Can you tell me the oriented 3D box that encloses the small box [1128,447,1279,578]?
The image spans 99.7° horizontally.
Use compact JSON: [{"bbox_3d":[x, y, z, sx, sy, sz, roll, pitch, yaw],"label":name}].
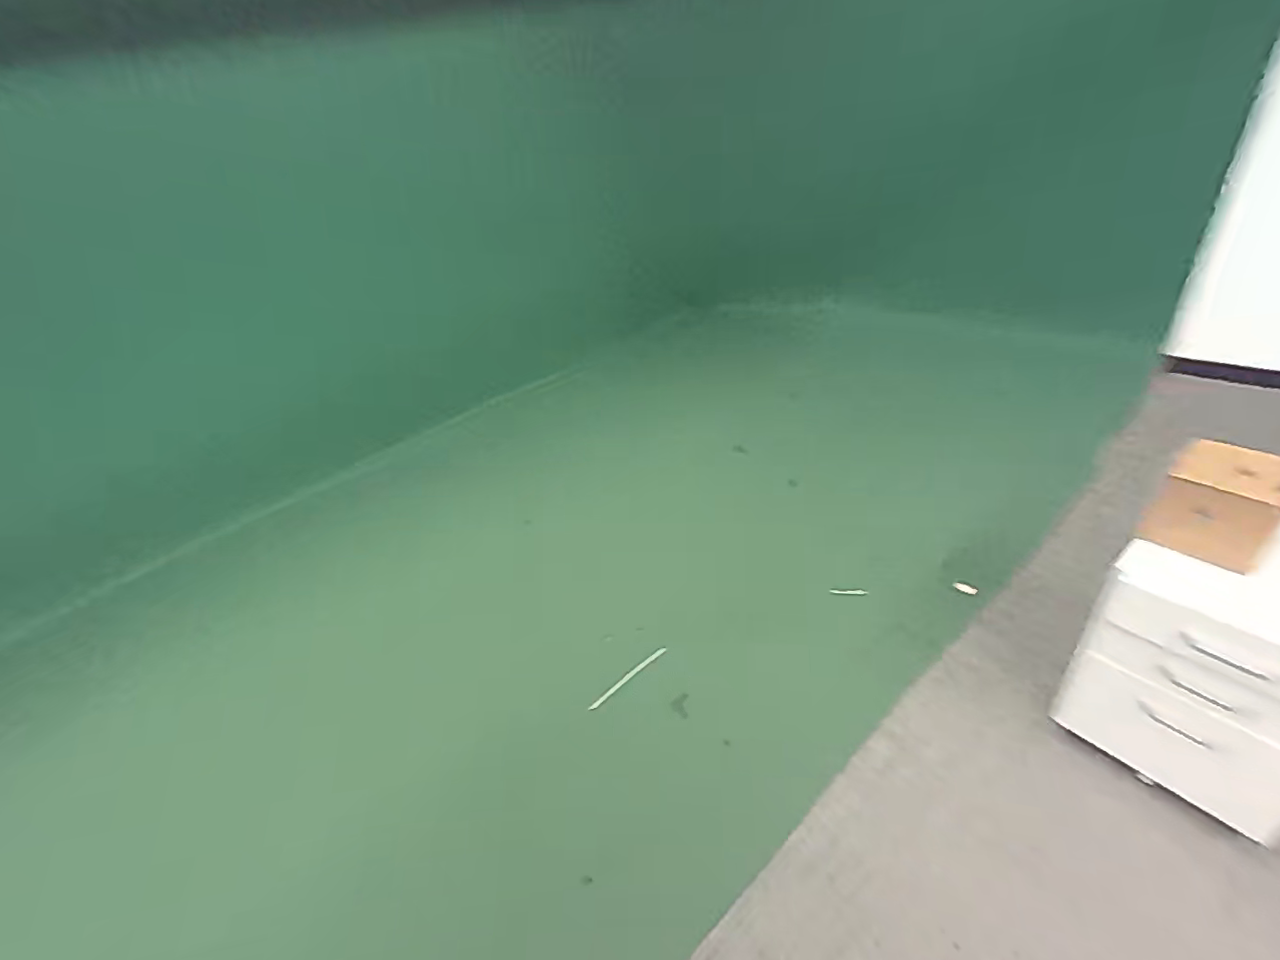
[{"bbox_3d":[1.130,0.064,1.080,0.168,0.176,0.179,-31,39,-25],"label":"small box"}]
